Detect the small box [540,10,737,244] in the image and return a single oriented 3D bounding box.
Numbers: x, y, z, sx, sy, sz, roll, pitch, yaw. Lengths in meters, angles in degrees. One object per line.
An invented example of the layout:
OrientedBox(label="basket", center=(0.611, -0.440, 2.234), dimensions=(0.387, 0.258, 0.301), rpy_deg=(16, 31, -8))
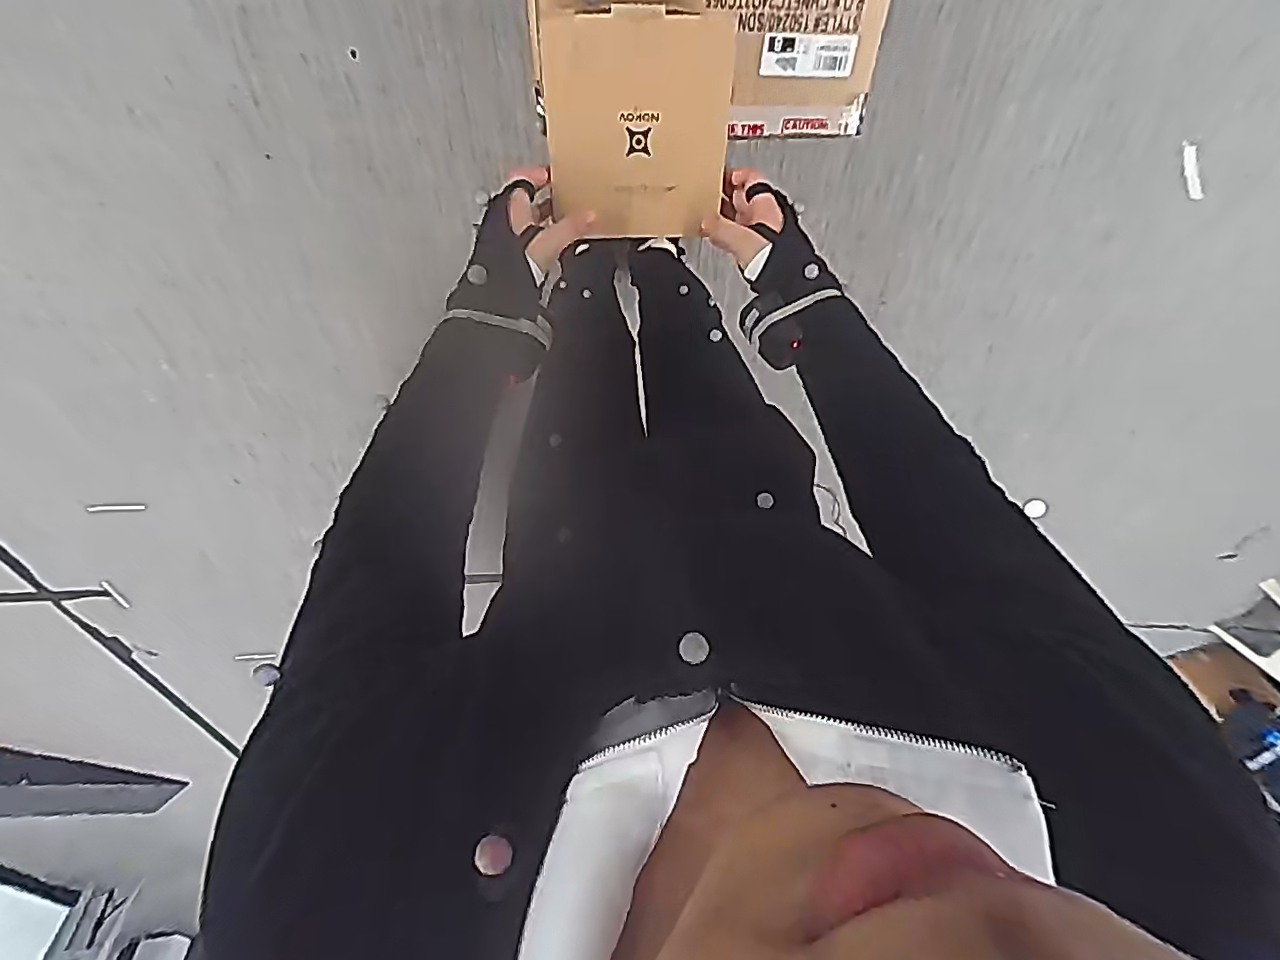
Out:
OrientedBox(label="small box", center=(-0.009, -0.360, 0.549), dimensions=(0.168, 0.176, 0.179), rpy_deg=(-4, 133, -3))
